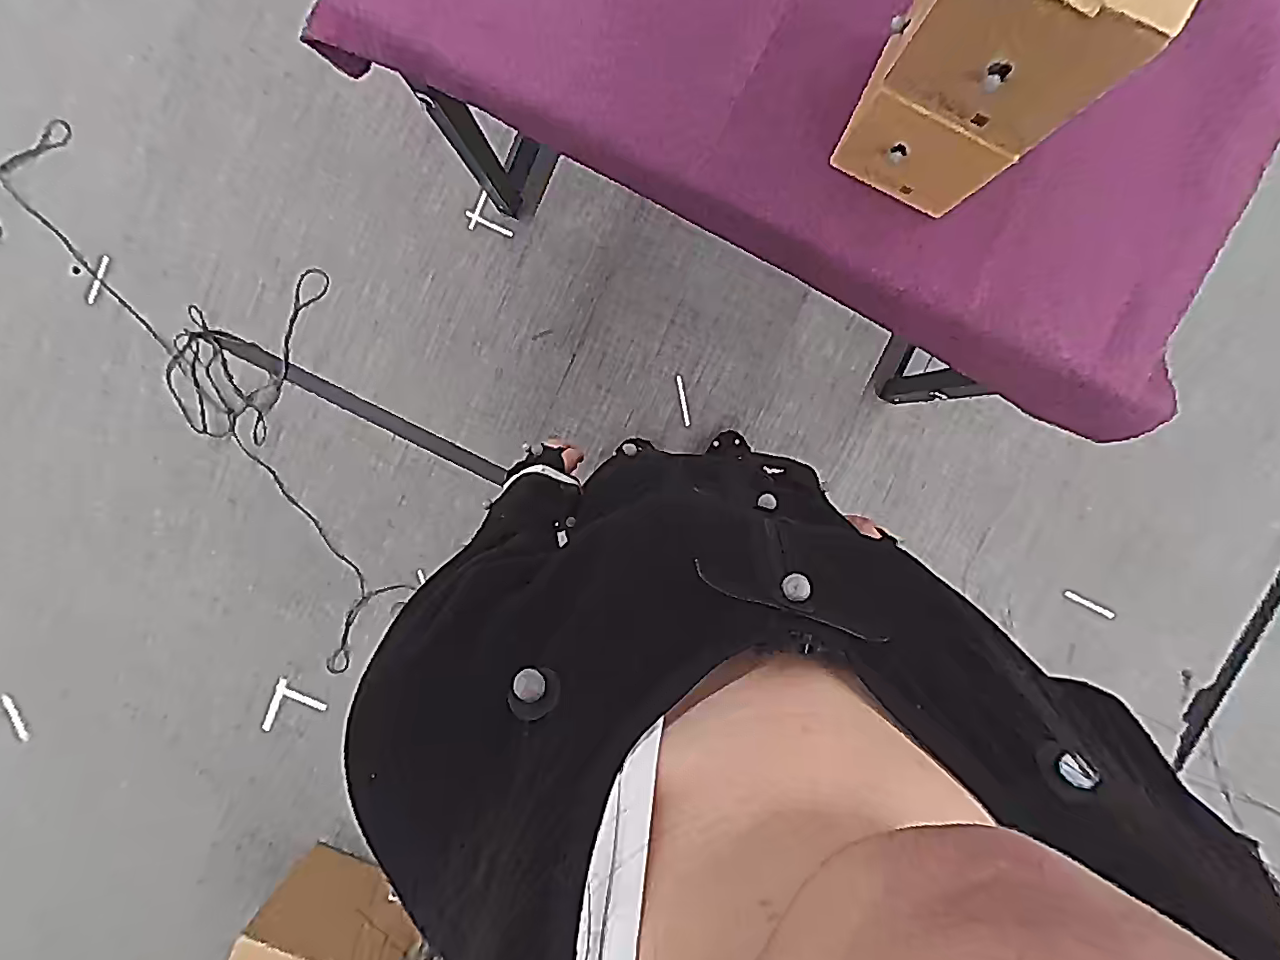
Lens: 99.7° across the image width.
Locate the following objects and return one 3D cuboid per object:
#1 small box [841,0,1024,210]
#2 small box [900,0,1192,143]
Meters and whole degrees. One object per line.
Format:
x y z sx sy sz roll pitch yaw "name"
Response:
0.362 -0.456 0.635 0.168 0.176 0.179 26 95 -1 "small box"
0.361 -0.444 0.472 0.168 0.176 0.179 27 96 -1 "small box"
